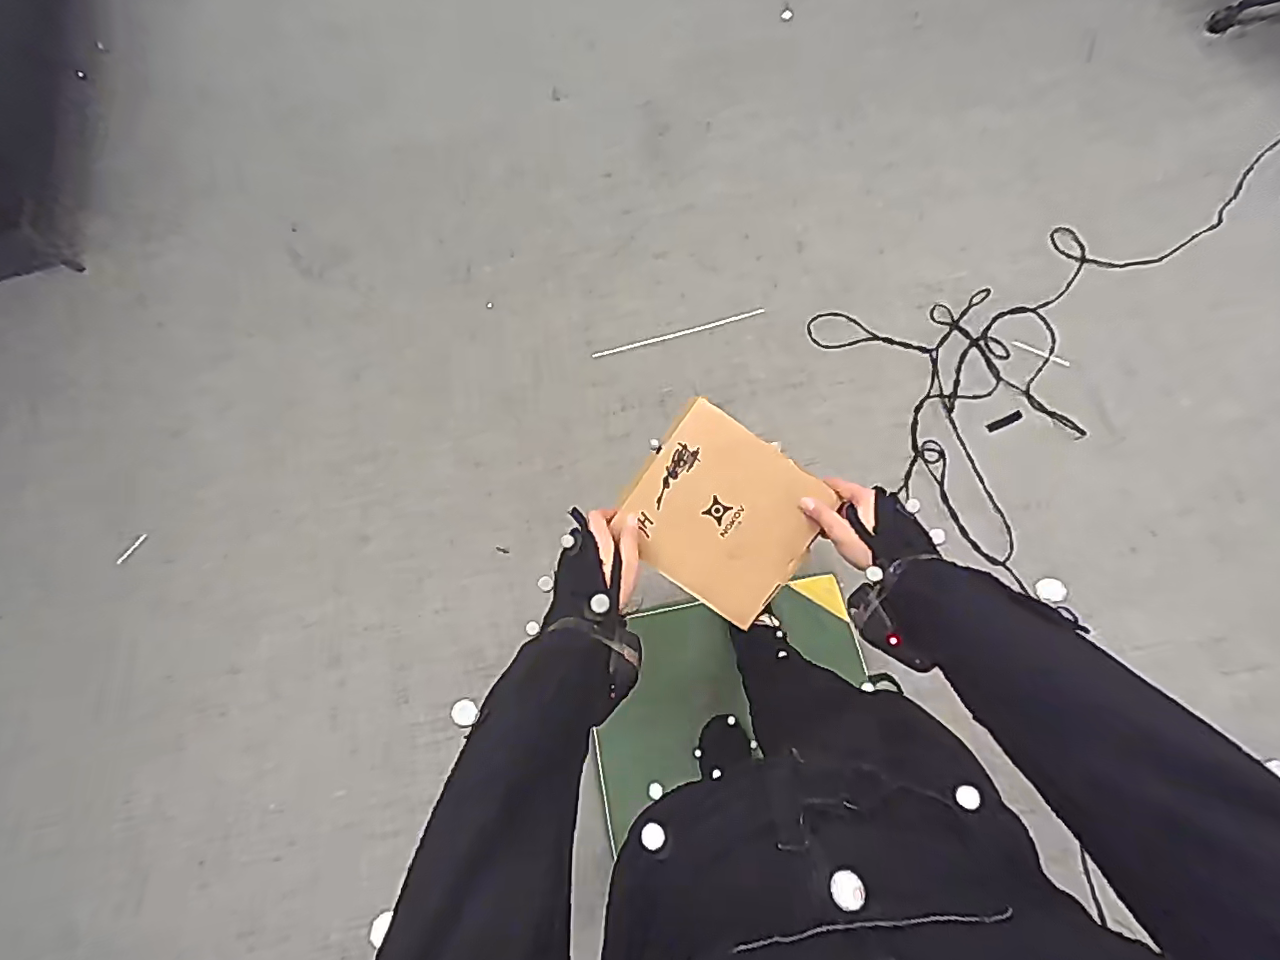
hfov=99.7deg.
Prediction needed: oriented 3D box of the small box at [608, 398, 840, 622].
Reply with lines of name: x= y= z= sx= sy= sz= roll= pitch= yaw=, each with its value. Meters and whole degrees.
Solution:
small box: x=0.084 y=0.023 z=0.614 sx=0.179 sy=0.176 sz=0.168 roll=35 pitch=94 yaw=-3
